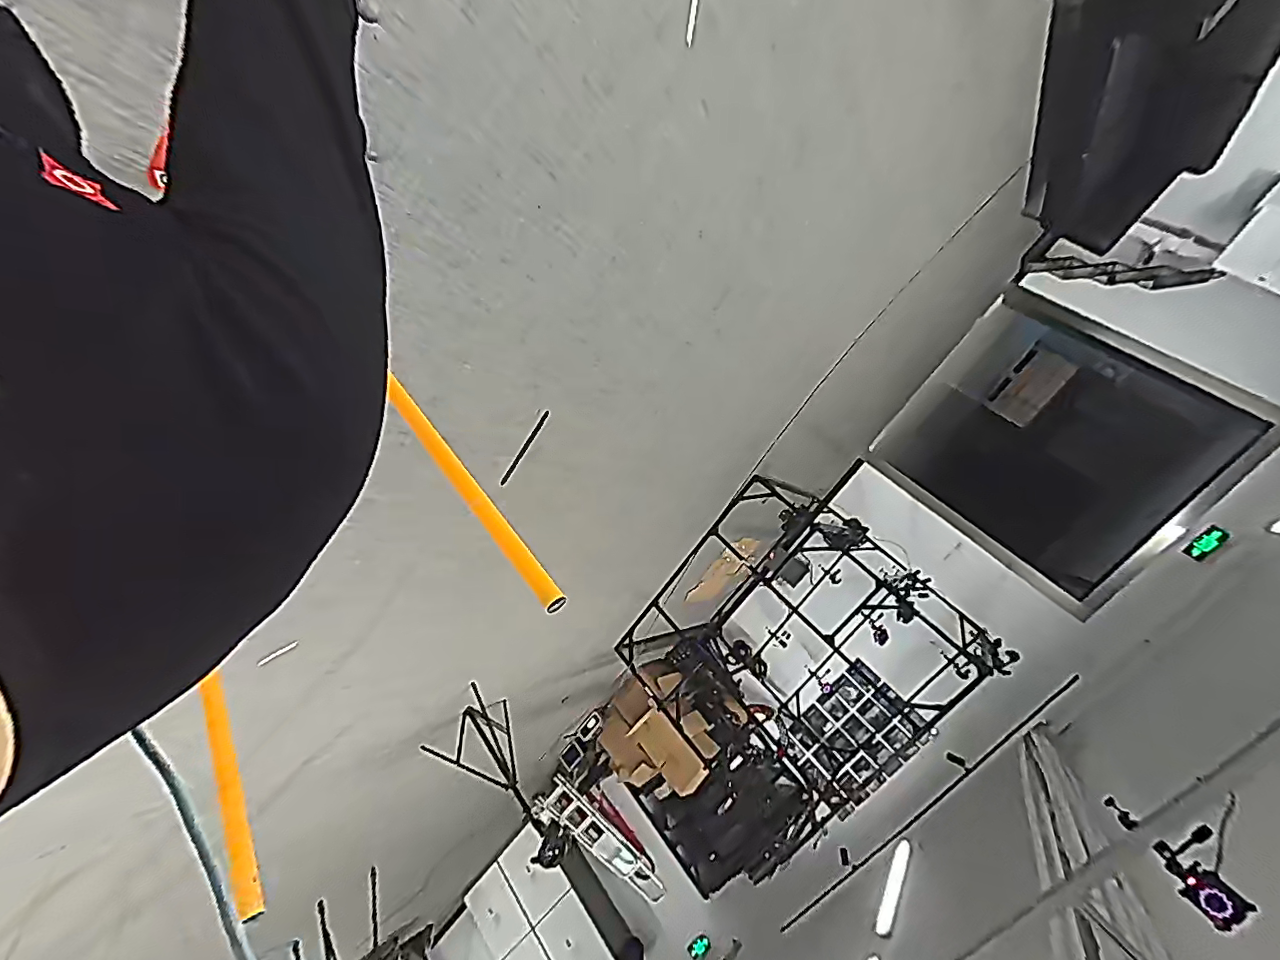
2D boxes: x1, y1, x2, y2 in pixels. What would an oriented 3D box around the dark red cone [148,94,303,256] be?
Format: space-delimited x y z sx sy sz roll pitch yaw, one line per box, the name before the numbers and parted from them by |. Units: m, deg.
dark red cone | -0.728 -0.522 1.010 0.202 0.394 0.201 -53 154 15
